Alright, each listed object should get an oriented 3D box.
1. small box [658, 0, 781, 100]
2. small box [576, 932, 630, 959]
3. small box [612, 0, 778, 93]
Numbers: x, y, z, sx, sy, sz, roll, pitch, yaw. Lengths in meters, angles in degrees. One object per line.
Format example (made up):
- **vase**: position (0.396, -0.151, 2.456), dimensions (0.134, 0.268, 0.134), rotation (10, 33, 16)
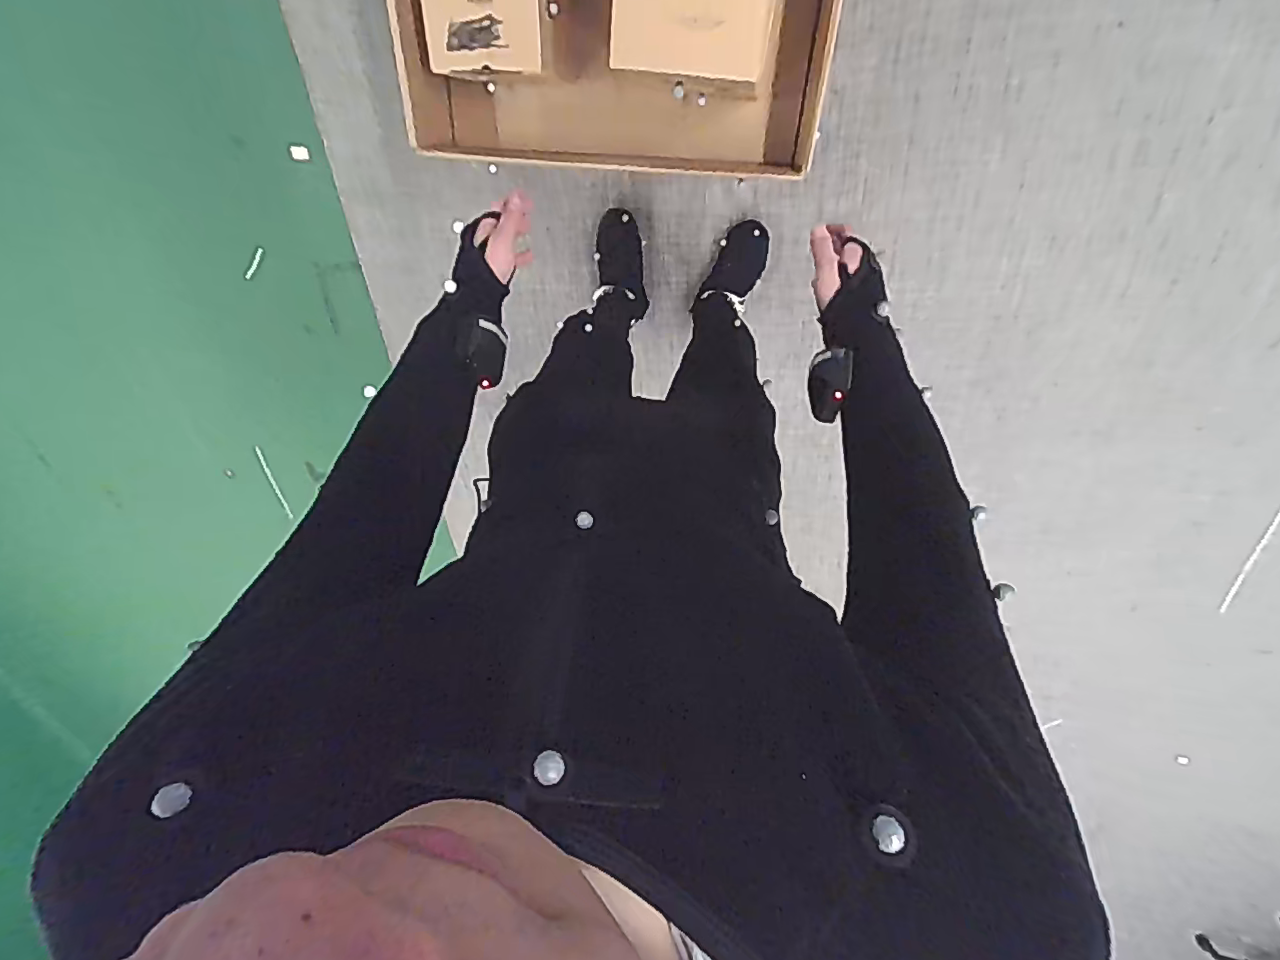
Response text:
- **small box**: position (0.102, -0.635, 0.730), dimensions (0.168, 0.176, 0.179), rotation (11, 124, 4)
- **small box**: position (-0.133, 1.725, 1.884), dimensions (0.168, 0.176, 0.179), rotation (0, 120, 11)
- **small box**: position (0.071, -0.549, 0.595), dimensions (0.168, 0.176, 0.179), rotation (10, 123, 4)
